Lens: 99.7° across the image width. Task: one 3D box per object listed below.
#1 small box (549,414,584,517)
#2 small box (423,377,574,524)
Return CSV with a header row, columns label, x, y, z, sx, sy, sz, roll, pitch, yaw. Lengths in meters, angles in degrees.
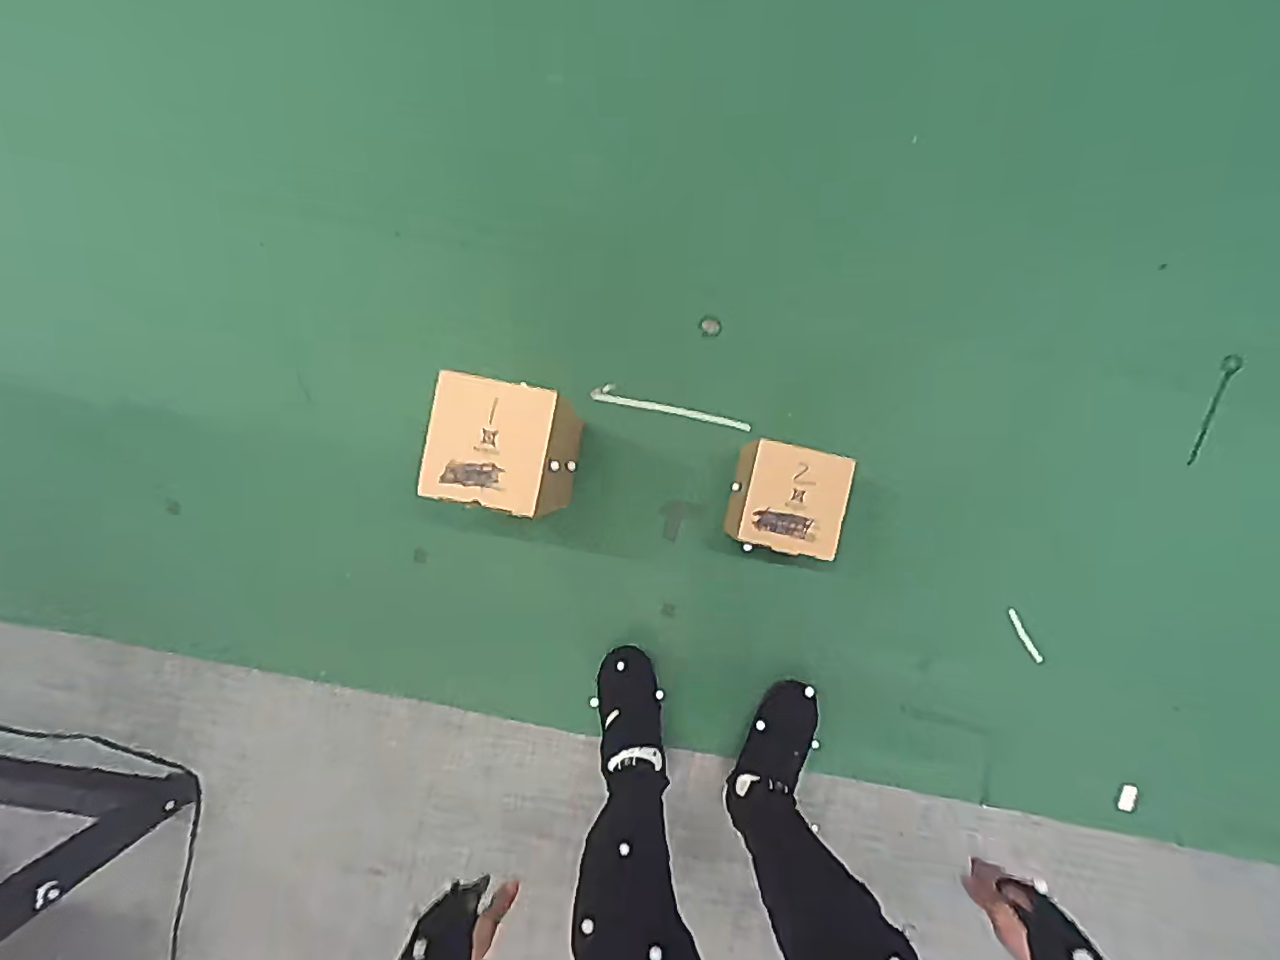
label,x,y,z,sx,sy,sz,roll,pitch,yaw
small box,-0.200,-0.037,0.979,0.168,0.176,0.179,11,90,1
small box,-0.201,-0.039,0.815,0.168,0.176,0.179,11,89,0
